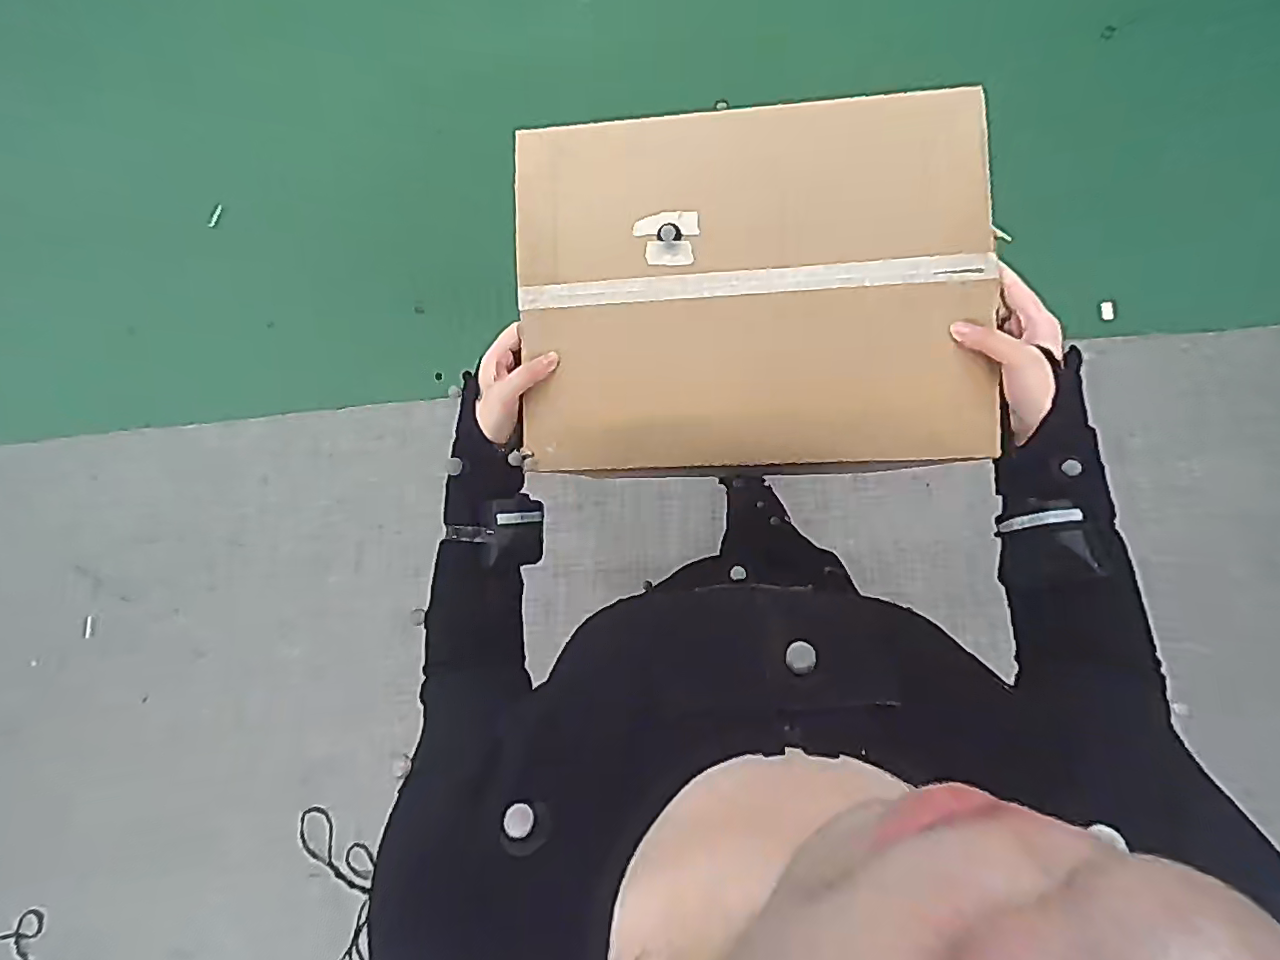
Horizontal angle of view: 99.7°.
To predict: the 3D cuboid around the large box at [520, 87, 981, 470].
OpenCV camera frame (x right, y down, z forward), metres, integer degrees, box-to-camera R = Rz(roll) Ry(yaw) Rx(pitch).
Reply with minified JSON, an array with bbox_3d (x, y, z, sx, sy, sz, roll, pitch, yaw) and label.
[{"bbox_3d":[0.109,-0.175,0.634,0.408,0.320,0.320,-2,88,8],"label":"large box"}]
